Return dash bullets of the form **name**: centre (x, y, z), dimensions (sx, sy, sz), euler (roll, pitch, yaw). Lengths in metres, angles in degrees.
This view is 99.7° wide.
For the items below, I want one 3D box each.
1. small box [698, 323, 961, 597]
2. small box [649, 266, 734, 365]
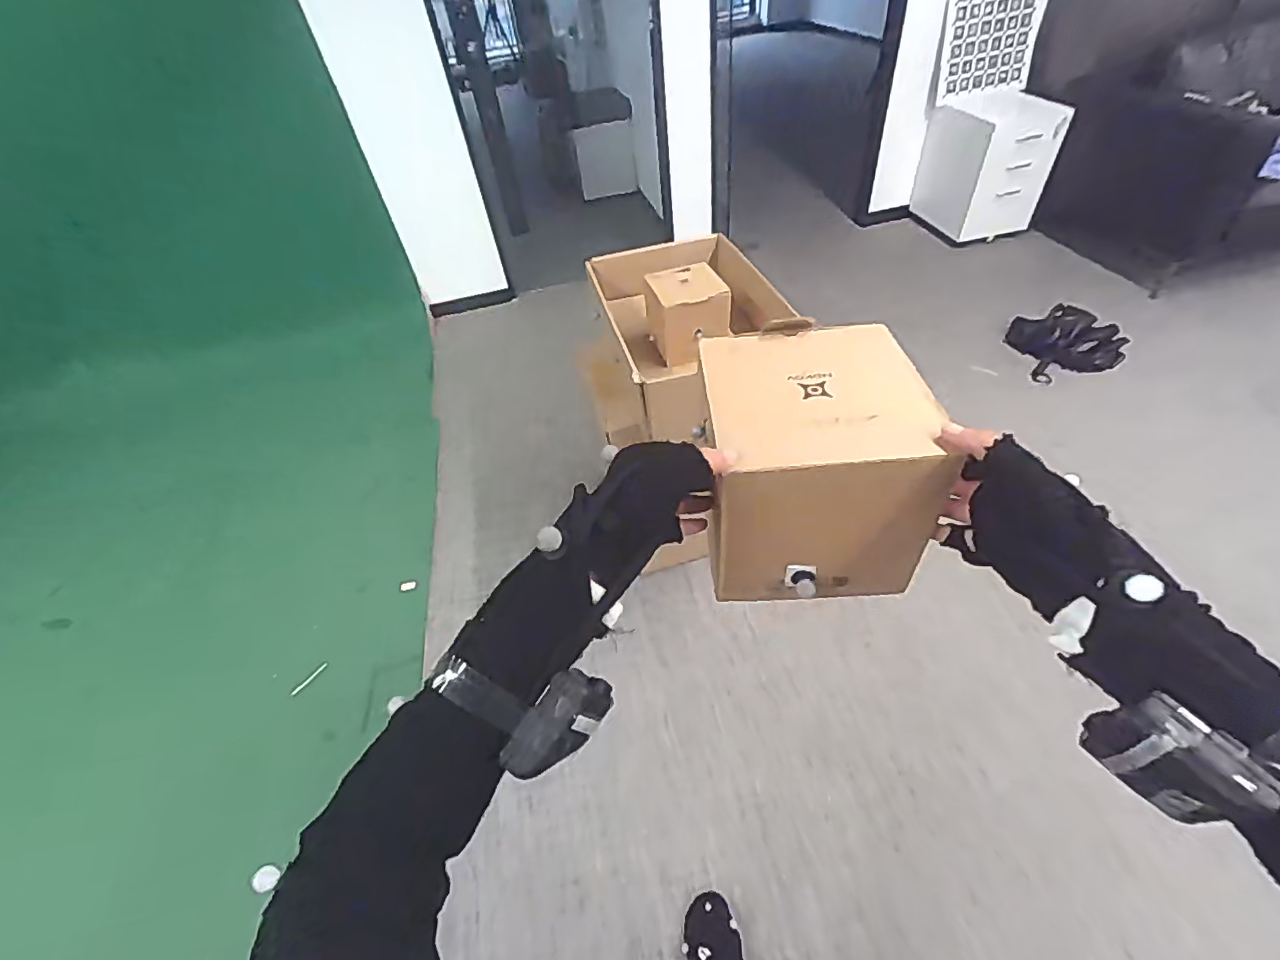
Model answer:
- **small box**: centre (0.138, -0.017, 0.477), dimensions (0.168, 0.176, 0.179), euler (-3, 44, 3)
- **small box**: centre (0.127, -0.404, 1.348), dimensions (0.168, 0.176, 0.179), euler (-14, 46, -7)
